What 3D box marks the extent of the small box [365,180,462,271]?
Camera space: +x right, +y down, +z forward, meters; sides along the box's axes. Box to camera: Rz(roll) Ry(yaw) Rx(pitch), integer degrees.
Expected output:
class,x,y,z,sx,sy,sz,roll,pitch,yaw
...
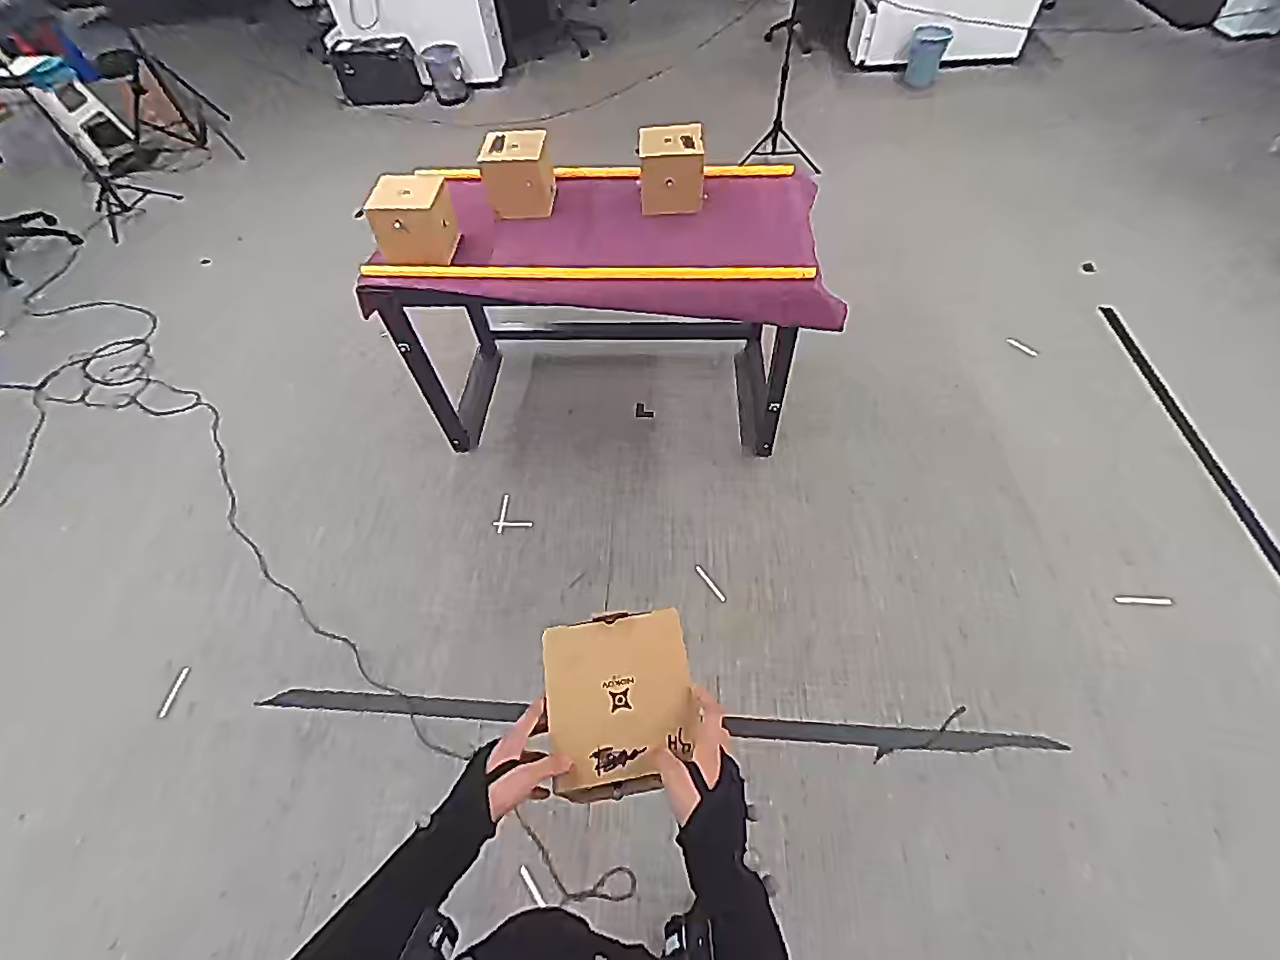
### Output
class,x,y,z,sx,sy,sz,roll,pitch,yaw
small box,-0.603,-0.688,1.468,0.179,0.176,0.168,0,55,3

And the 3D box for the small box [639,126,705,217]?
class,x,y,z,sx,sy,sz,roll,pitch,yaw
small box,0.091,-0.877,1.546,0.179,0.176,0.168,-2,56,4

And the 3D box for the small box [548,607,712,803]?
class,x,y,z,sx,sy,sz,roll,pitch,yaw
small box,-0.014,0.277,0.659,0.168,0.176,0.179,-9,56,-2
